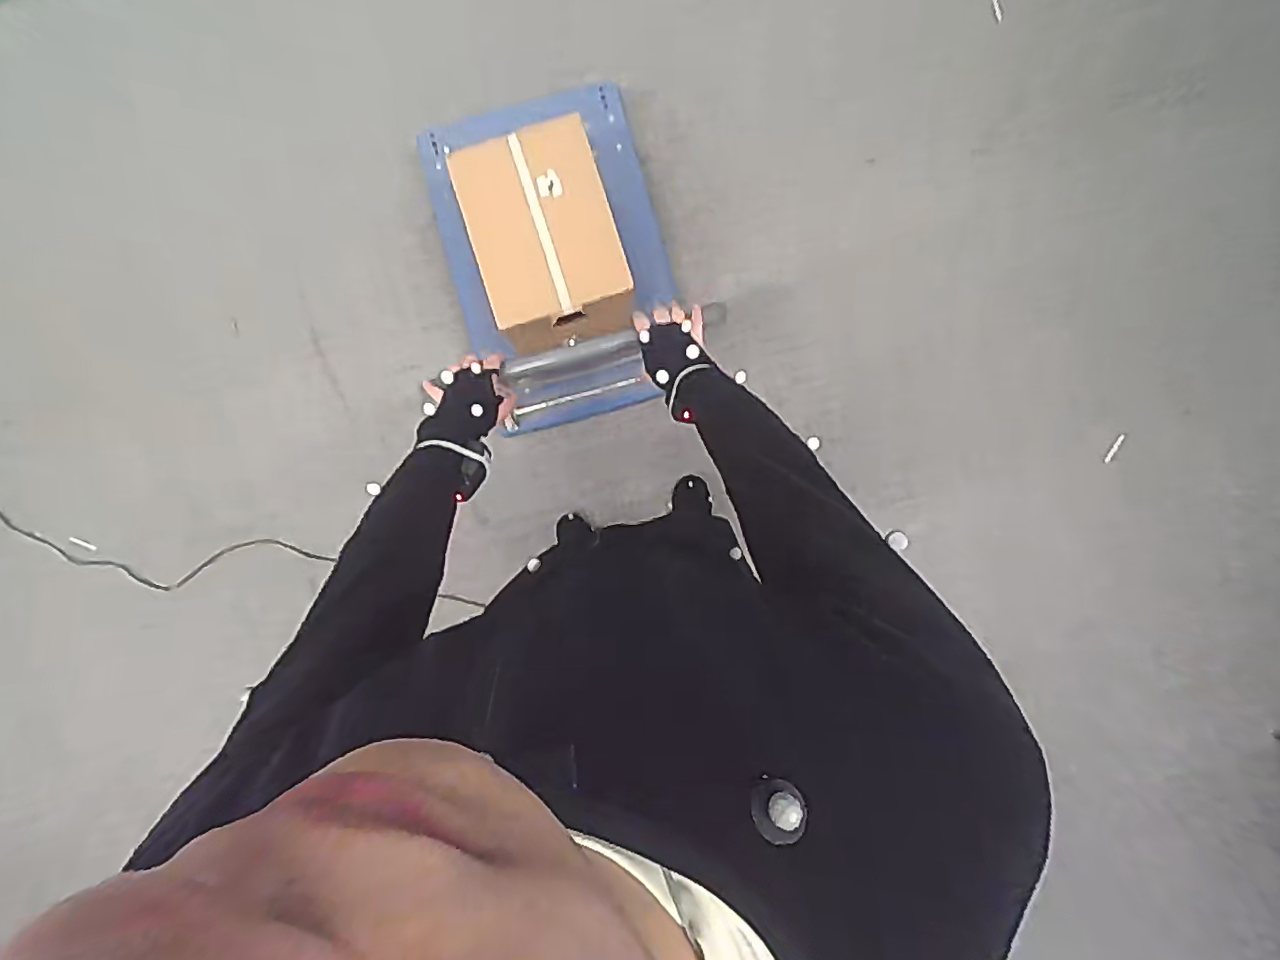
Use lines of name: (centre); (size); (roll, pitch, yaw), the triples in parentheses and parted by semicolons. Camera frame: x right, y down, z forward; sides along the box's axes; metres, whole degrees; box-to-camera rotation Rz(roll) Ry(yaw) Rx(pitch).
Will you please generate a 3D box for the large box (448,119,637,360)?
large box: (-0.215, -0.561, 1.337); (0.320, 0.320, 0.408); (-18, 89, 0)
